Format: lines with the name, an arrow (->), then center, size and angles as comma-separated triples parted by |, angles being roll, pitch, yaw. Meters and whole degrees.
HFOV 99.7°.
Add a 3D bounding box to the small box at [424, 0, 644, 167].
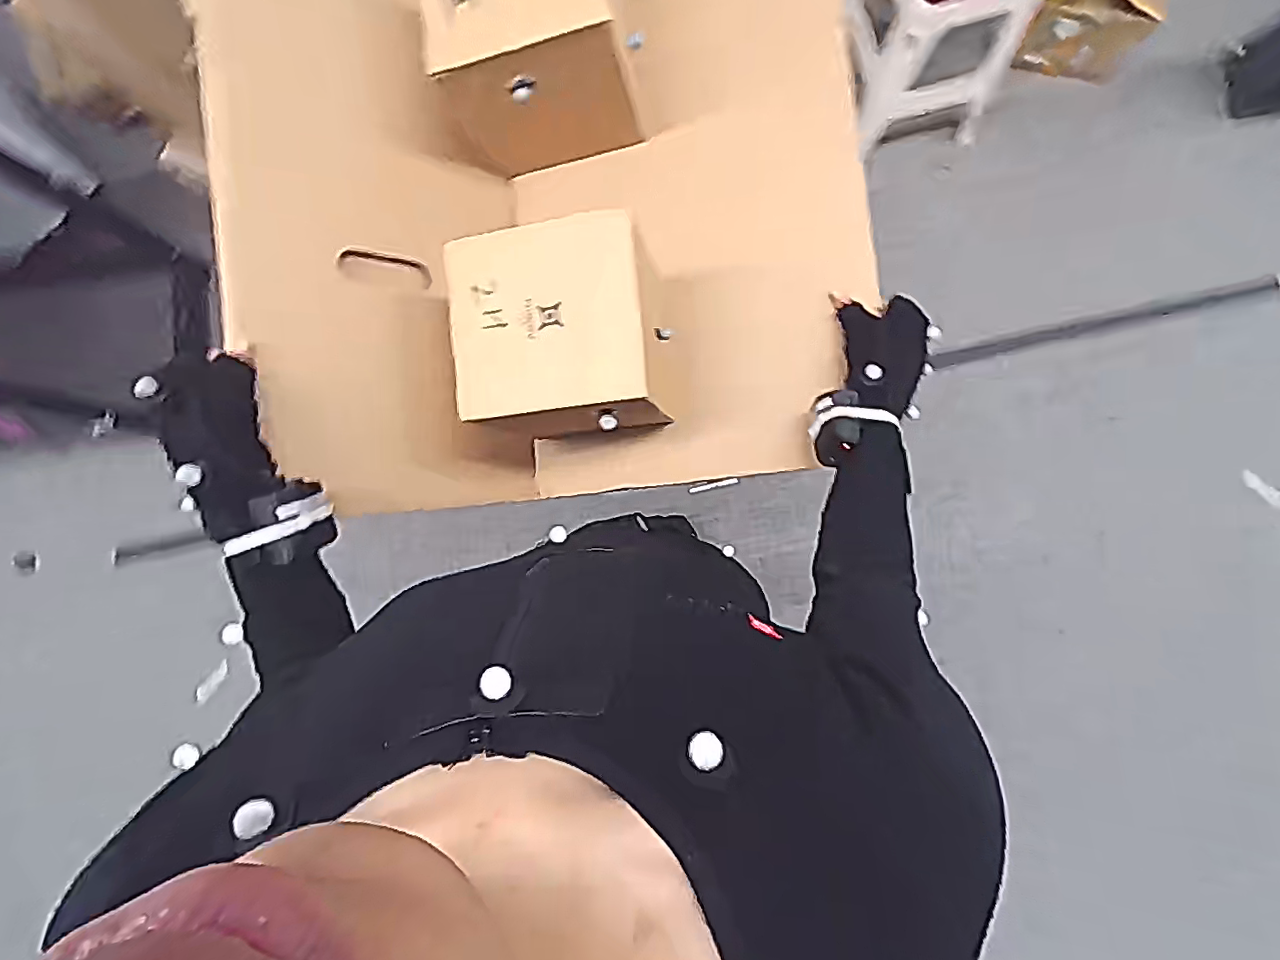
small box -> -0.104, -0.466, 0.569 | 0.179, 0.176, 0.168 | -7, 88, 11
